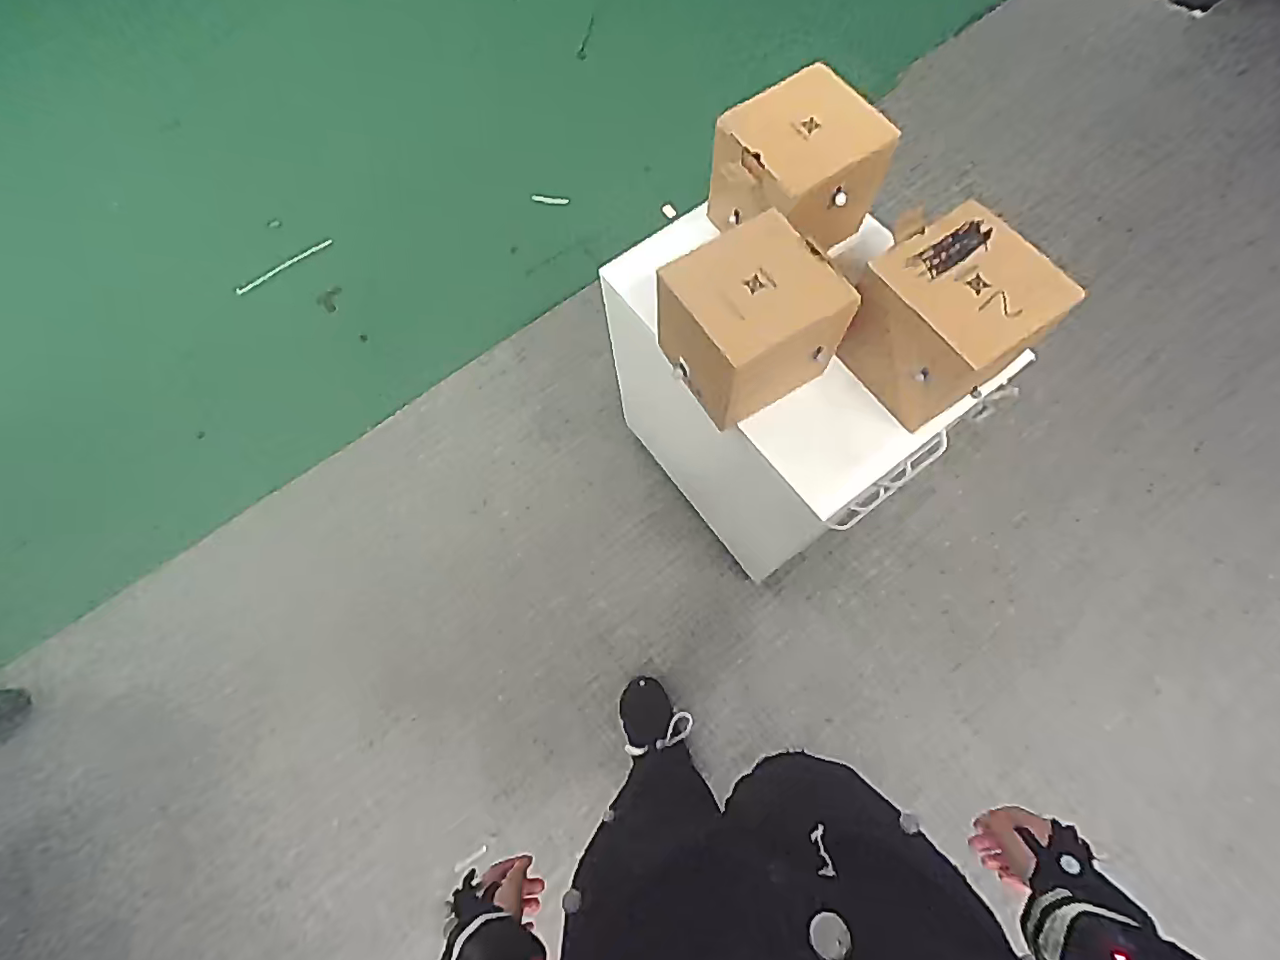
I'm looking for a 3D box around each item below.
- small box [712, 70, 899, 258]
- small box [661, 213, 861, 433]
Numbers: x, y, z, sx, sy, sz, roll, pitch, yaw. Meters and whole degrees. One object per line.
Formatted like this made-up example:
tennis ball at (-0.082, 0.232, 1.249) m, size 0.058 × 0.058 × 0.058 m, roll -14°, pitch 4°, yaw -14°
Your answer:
small box at (0.220, -0.423, 0.775) m, size 0.179 × 0.176 × 0.168 m, roll -33°, pitch 73°, yaw -8°
small box at (0.140, -0.192, 0.697) m, size 0.179 × 0.176 × 0.168 m, roll -31°, pitch 70°, yaw -8°
